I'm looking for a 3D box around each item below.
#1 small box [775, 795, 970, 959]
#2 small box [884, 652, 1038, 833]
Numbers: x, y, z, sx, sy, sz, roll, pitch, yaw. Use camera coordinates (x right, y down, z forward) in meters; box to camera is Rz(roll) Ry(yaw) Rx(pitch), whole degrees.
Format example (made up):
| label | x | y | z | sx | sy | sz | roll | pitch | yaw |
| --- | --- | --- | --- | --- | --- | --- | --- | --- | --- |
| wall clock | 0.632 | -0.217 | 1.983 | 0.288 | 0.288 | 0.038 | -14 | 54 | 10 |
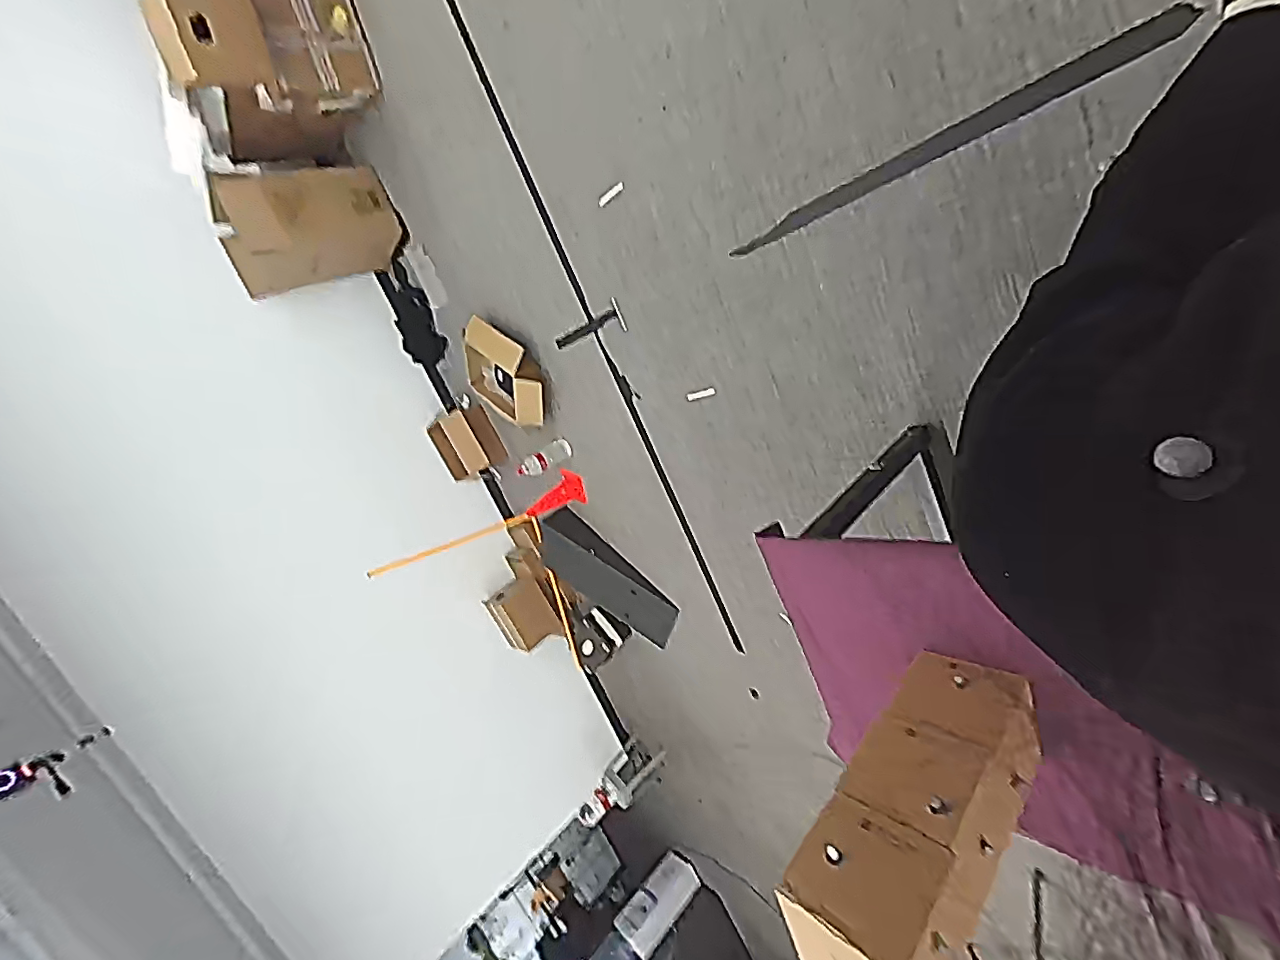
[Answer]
| label | x | y | z | sx | sy | sz | roll | pitch | yaw |
| --- | --- | --- | --- | --- | --- | --- | --- | --- | --- |
| small box | 0.311 | 0.568 | 0.716 | 0.168 | 0.176 | 0.179 | 5 | 123 | 51 |
| small box | 0.538 | 0.424 | 0.901 | 0.168 | 0.176 | 0.179 | 2 | 119 | 50 |
